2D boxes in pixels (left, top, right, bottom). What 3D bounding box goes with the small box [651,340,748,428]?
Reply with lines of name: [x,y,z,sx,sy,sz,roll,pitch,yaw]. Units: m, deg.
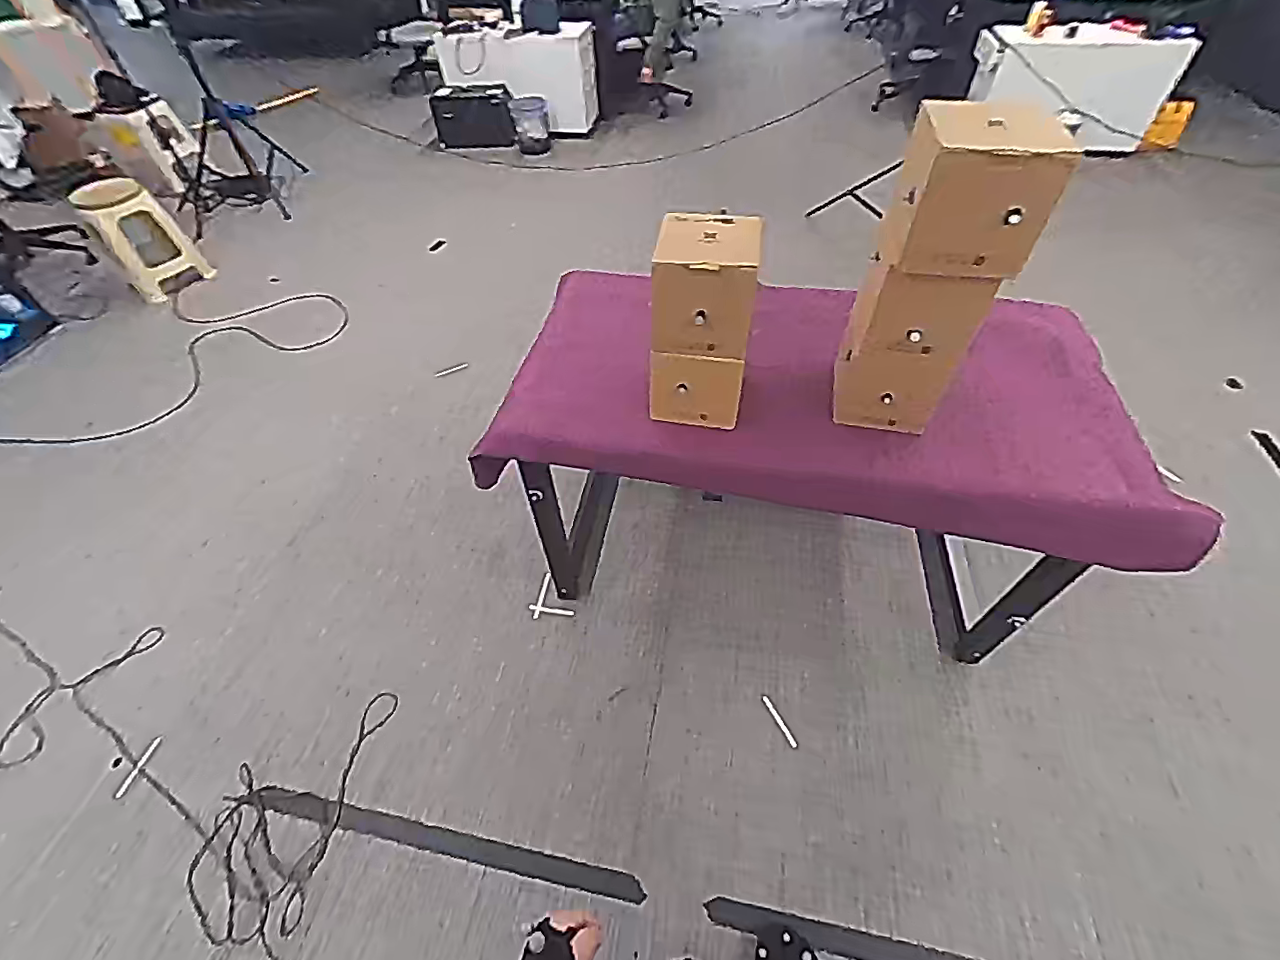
small box: [0.120,-0.222,1.050,0.168,0.176,0.179,8,50,9]

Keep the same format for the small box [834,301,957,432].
small box: [0.475,-0.213,1.029,0.168,0.176,0.179,10,51,10]

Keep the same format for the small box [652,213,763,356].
small box: [0.116,-0.333,0.929,0.168,0.176,0.179,7,50,7]

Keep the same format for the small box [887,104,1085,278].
small box: [0.467,-0.407,0.765,0.168,0.176,0.179,7,51,7]

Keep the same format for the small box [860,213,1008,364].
small box: [0.474,-0.320,0.904,0.168,0.176,0.179,9,52,10]
